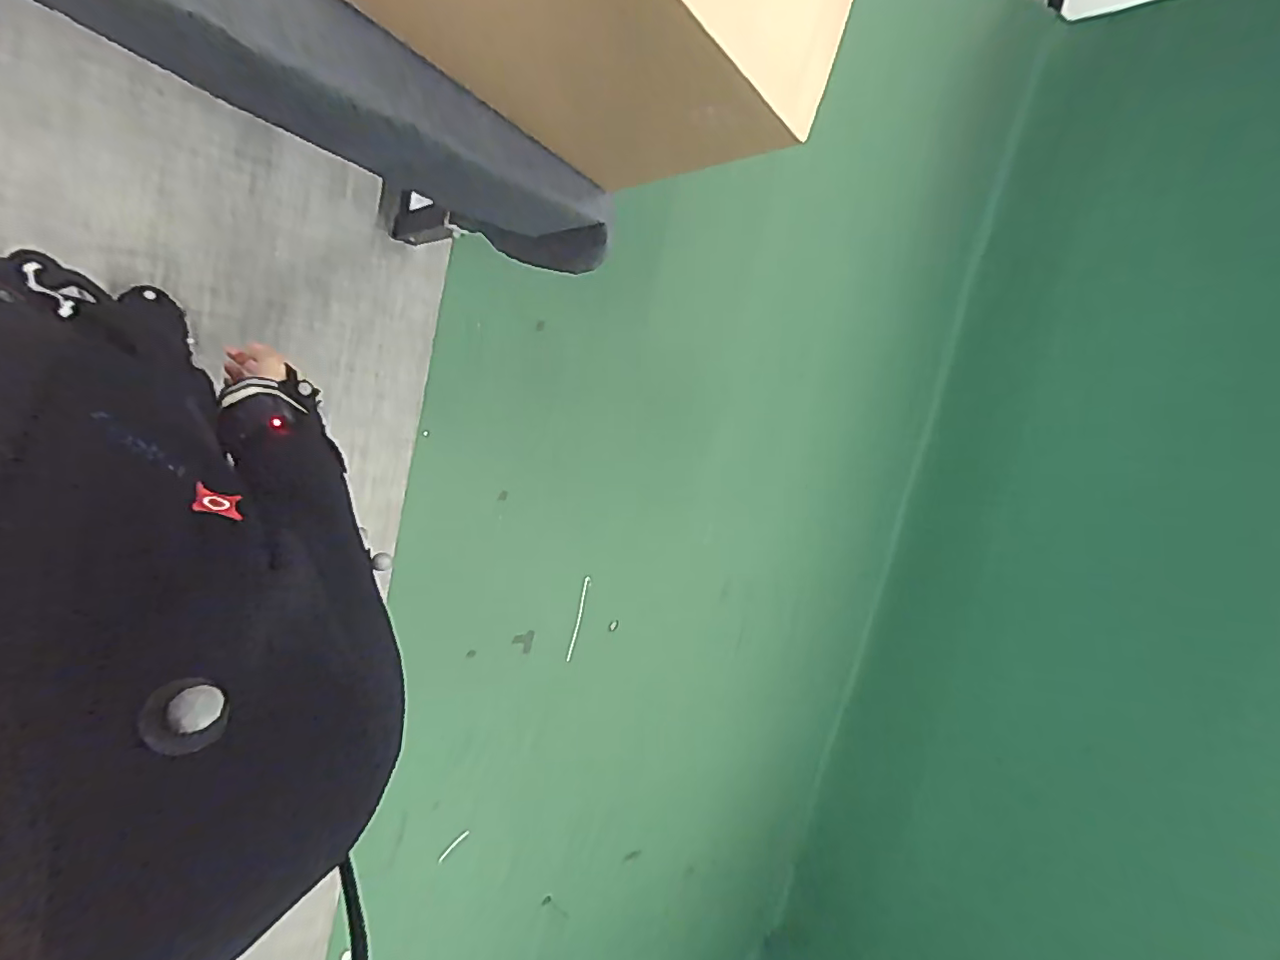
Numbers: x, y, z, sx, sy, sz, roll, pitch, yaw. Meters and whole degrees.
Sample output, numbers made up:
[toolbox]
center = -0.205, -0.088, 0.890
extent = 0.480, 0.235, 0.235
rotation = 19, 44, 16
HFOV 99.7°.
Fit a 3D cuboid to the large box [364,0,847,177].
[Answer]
[large box]
center = -0.037, -0.545, 0.481
extent = 0.408, 0.320, 0.320
rotation = 13, 96, -45
